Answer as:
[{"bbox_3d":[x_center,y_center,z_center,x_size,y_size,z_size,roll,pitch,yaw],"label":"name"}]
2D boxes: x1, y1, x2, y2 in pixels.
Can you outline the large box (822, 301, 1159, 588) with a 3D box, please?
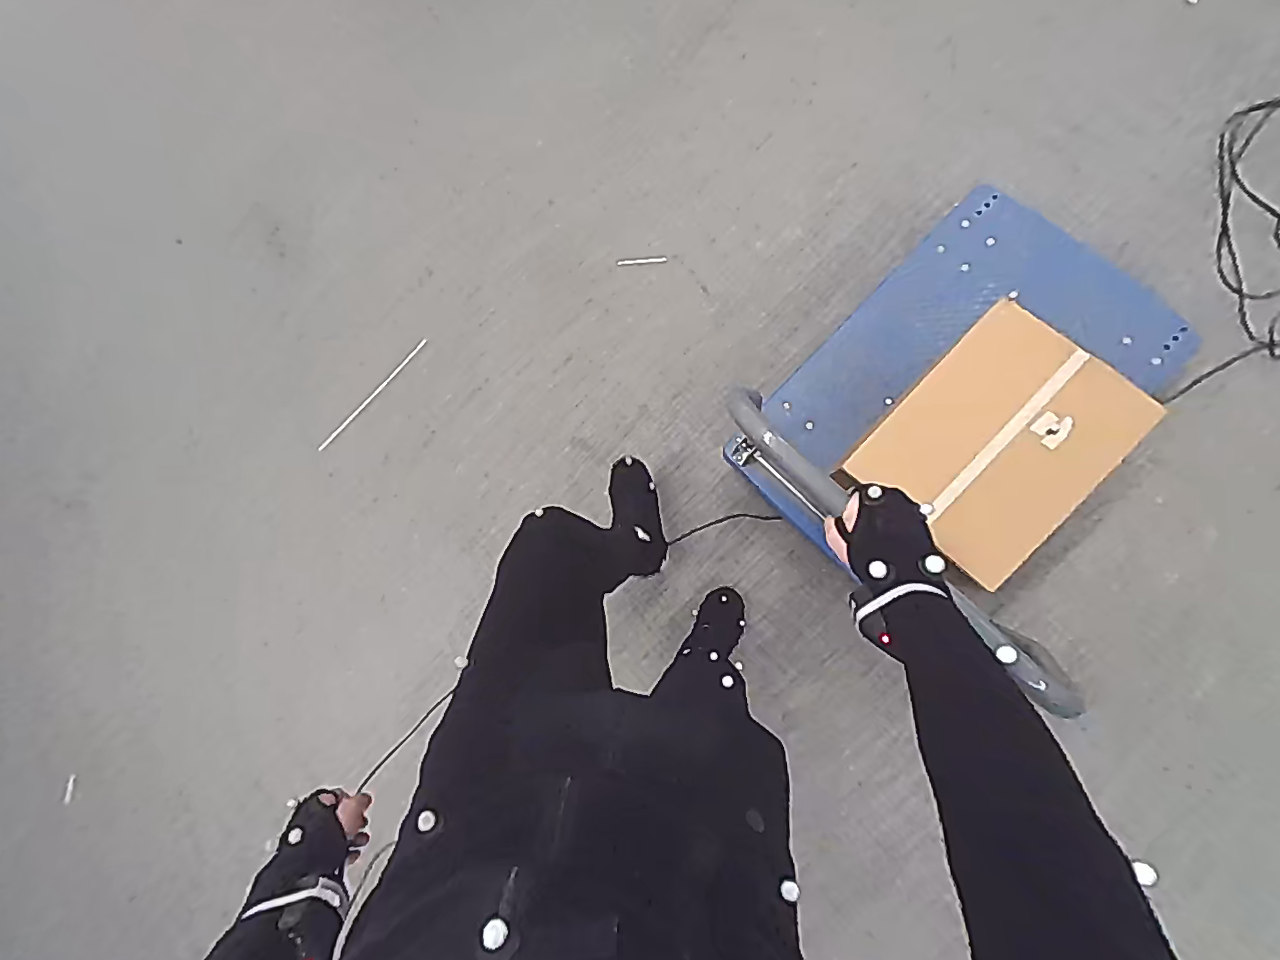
[{"bbox_3d":[0.623,-0.046,1.050,0.320,0.320,0.408,44,91,11],"label":"large box"}]
